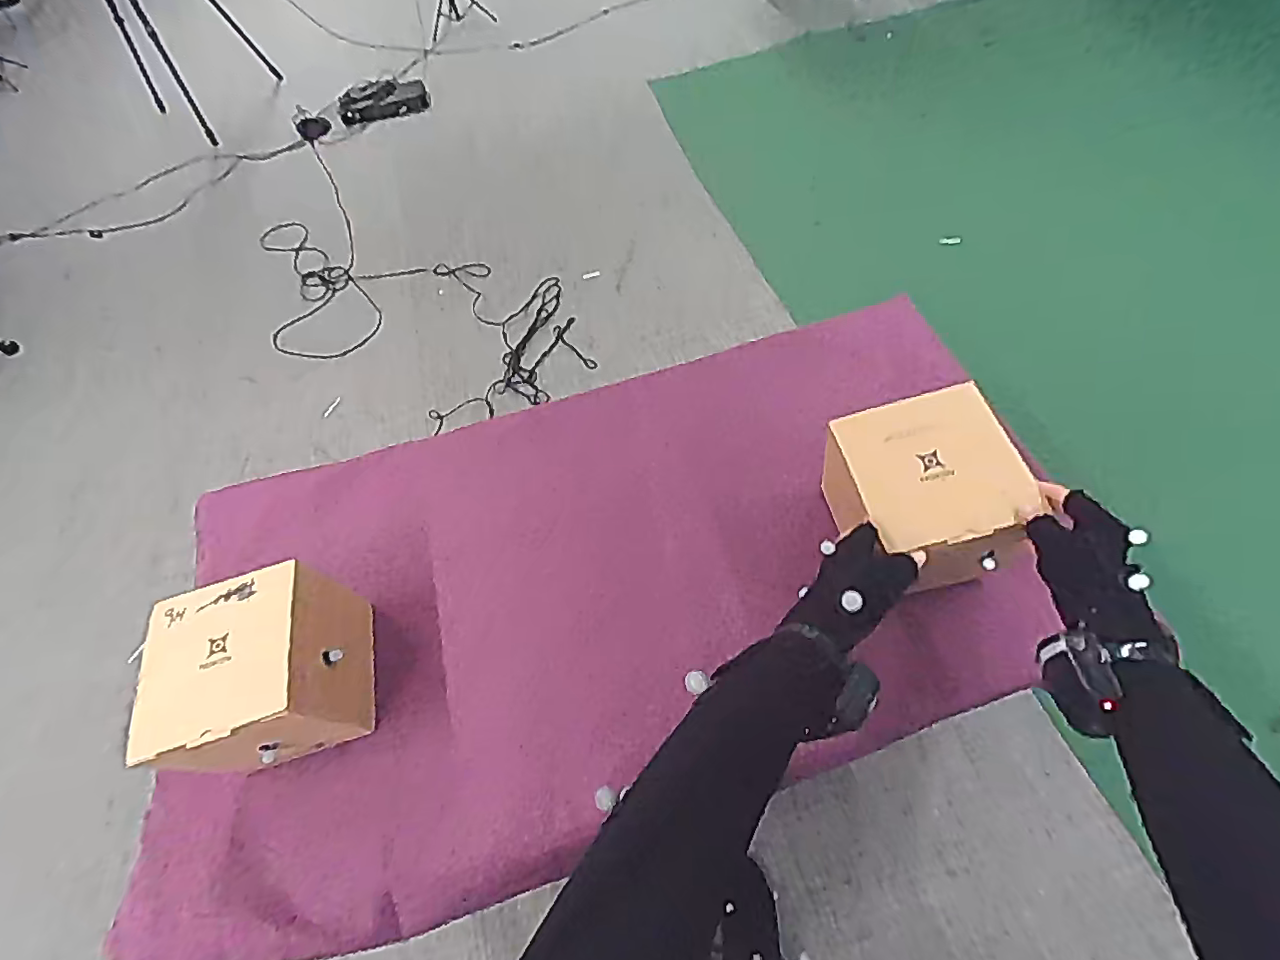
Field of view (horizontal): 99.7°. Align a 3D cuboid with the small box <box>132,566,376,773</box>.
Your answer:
[{"bbox_3d":[-0.436,0.232,0.644,0.168,0.176,0.179,-18,59,-3],"label":"small box"}]

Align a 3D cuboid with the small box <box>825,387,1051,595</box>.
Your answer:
[{"bbox_3d":[0.330,0.025,0.644,0.168,0.176,0.179,-15,59,7],"label":"small box"}]
